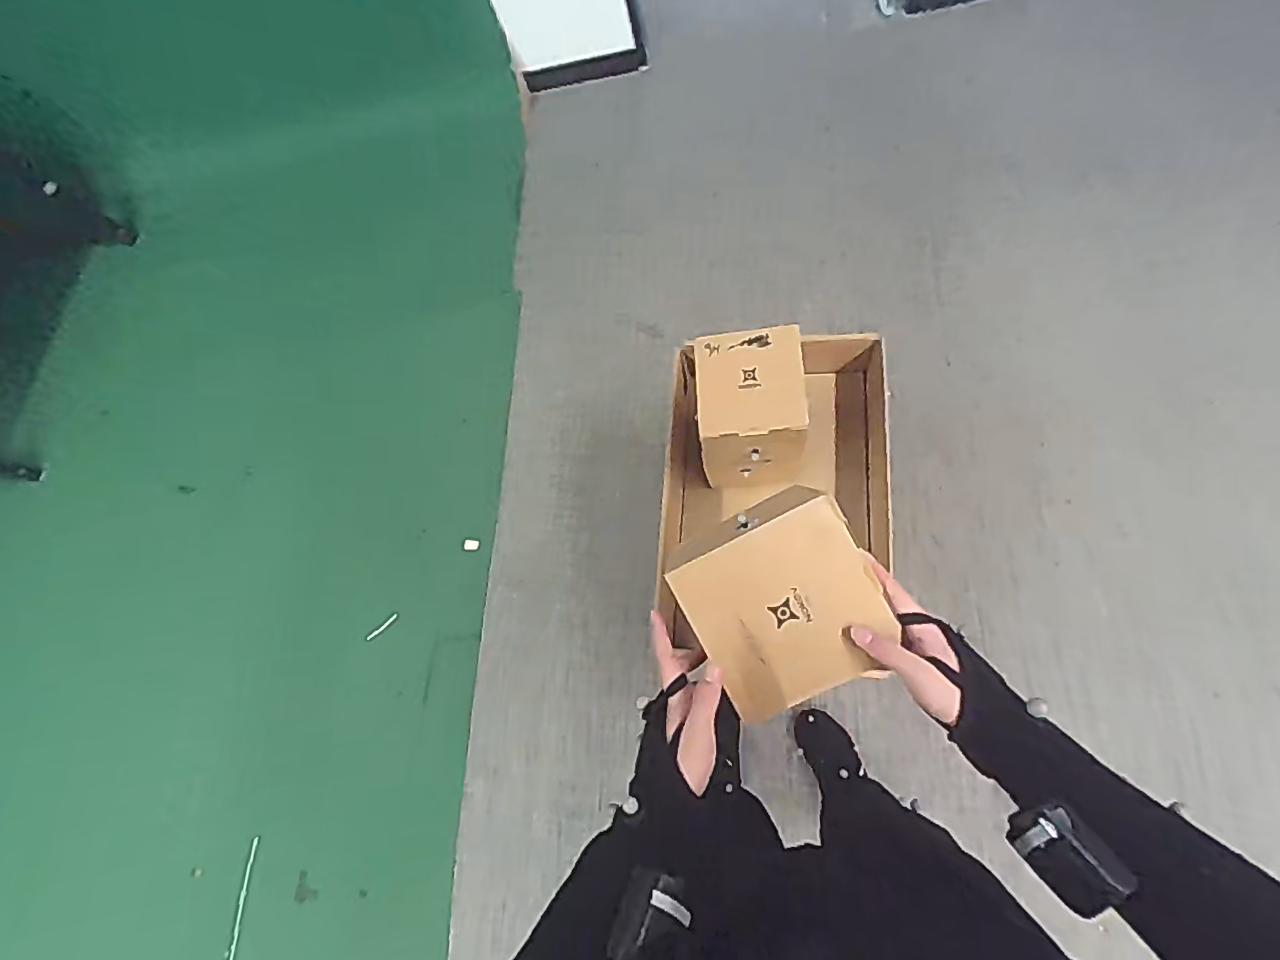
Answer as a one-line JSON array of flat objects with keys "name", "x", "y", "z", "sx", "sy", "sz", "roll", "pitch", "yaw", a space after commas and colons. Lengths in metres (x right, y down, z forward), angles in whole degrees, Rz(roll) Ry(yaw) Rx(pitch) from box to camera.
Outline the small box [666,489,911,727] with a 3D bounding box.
[{"name": "small box", "x": 0.141, "y": 0.117, "z": 0.574, "sx": 0.179, "sy": 0.176, "sz": 0.168, "roll": -28, "pitch": 88, "yaw": 6}]

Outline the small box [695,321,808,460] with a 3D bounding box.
[{"name": "small box", "x": 0.186, "y": -0.136, "z": 0.901, "sx": 0.168, "sy": 0.176, "sz": 0.179, "roll": -4, "pitch": 75, "yaw": 12}]
